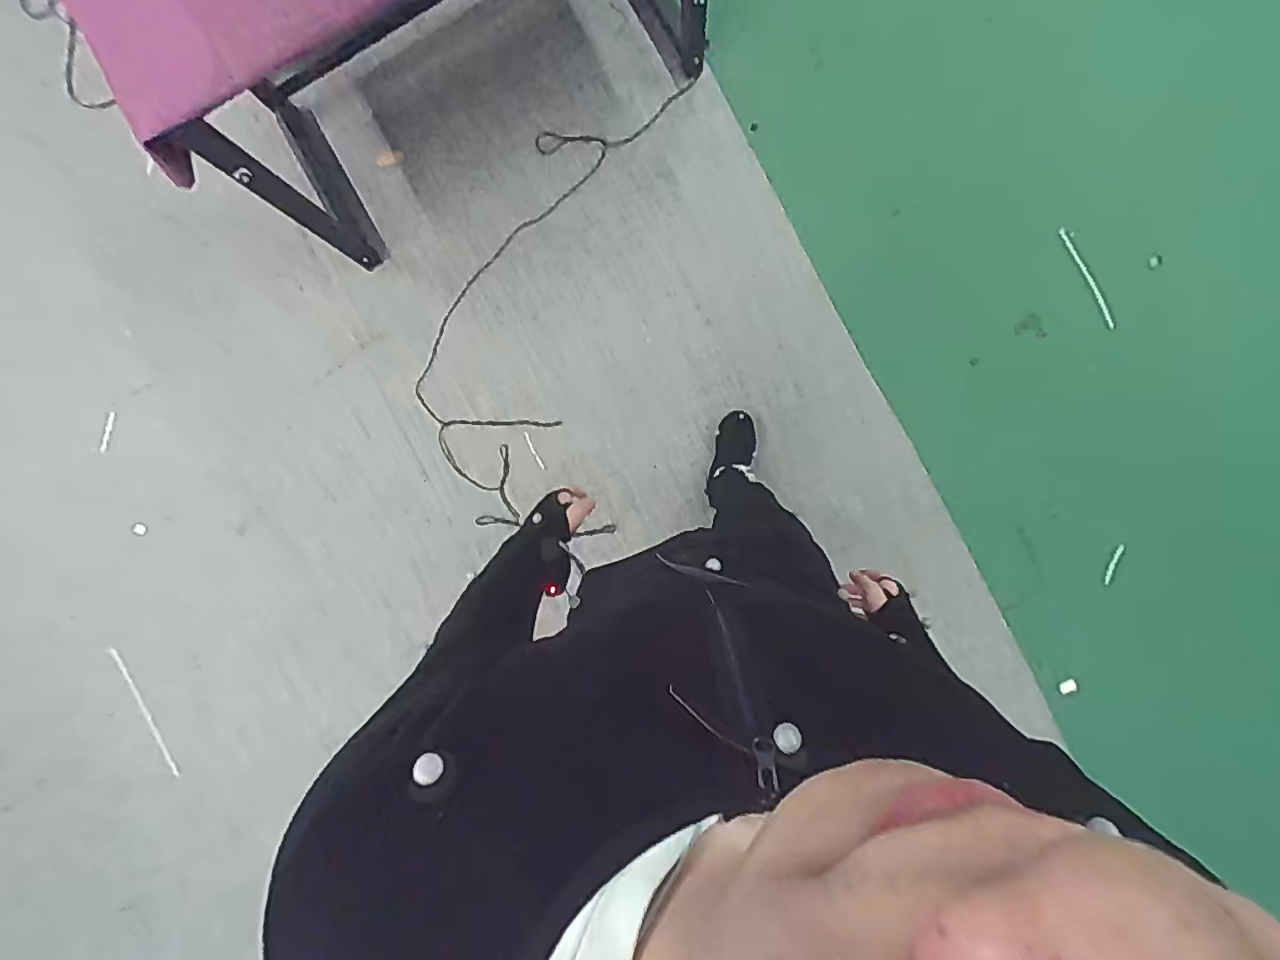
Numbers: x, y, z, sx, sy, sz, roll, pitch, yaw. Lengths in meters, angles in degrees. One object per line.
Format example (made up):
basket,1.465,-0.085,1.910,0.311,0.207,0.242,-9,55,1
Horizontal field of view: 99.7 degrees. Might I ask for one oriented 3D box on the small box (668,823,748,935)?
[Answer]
small box,0.184,1.107,1.520,0.168,0.176,0.179,-24,90,4
